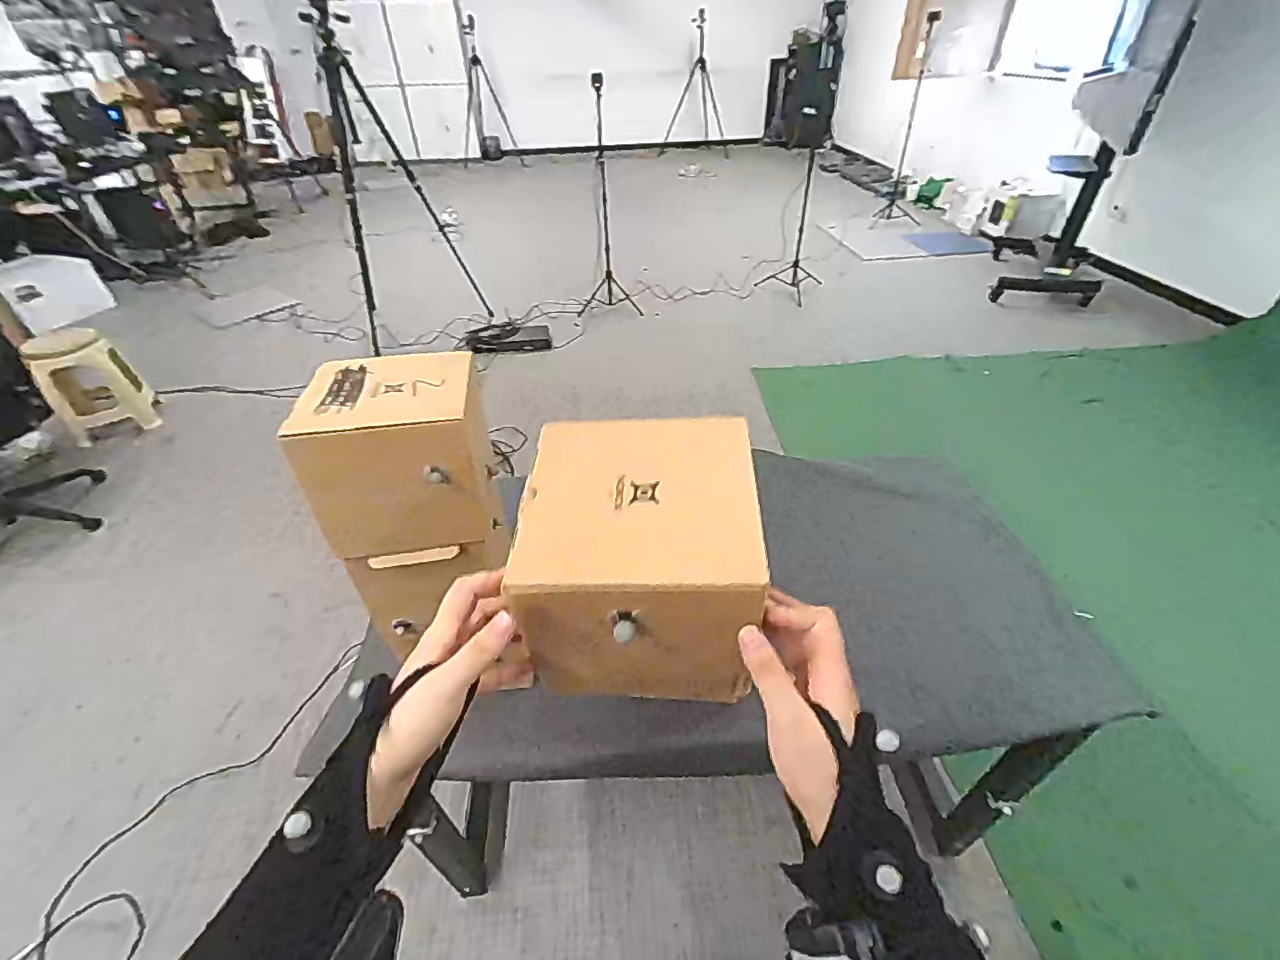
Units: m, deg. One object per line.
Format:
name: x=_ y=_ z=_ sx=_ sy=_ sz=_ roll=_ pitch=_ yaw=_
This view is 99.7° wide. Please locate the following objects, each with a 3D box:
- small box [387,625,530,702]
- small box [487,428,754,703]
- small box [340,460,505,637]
small box: x=-0.262 y=0.224 z=0.848 sx=0.179 sy=0.176 sz=0.168 roll=-6 pitch=38 yaw=-3
small box: x=-0.005 y=0.075 z=0.458 sx=0.179 sy=0.176 sz=0.168 roll=-3 pitch=46 yaw=5
small box: x=-0.277 y=0.097 z=0.744 sx=0.168 sy=0.176 sz=0.179 roll=-7 pitch=37 yaw=-7
